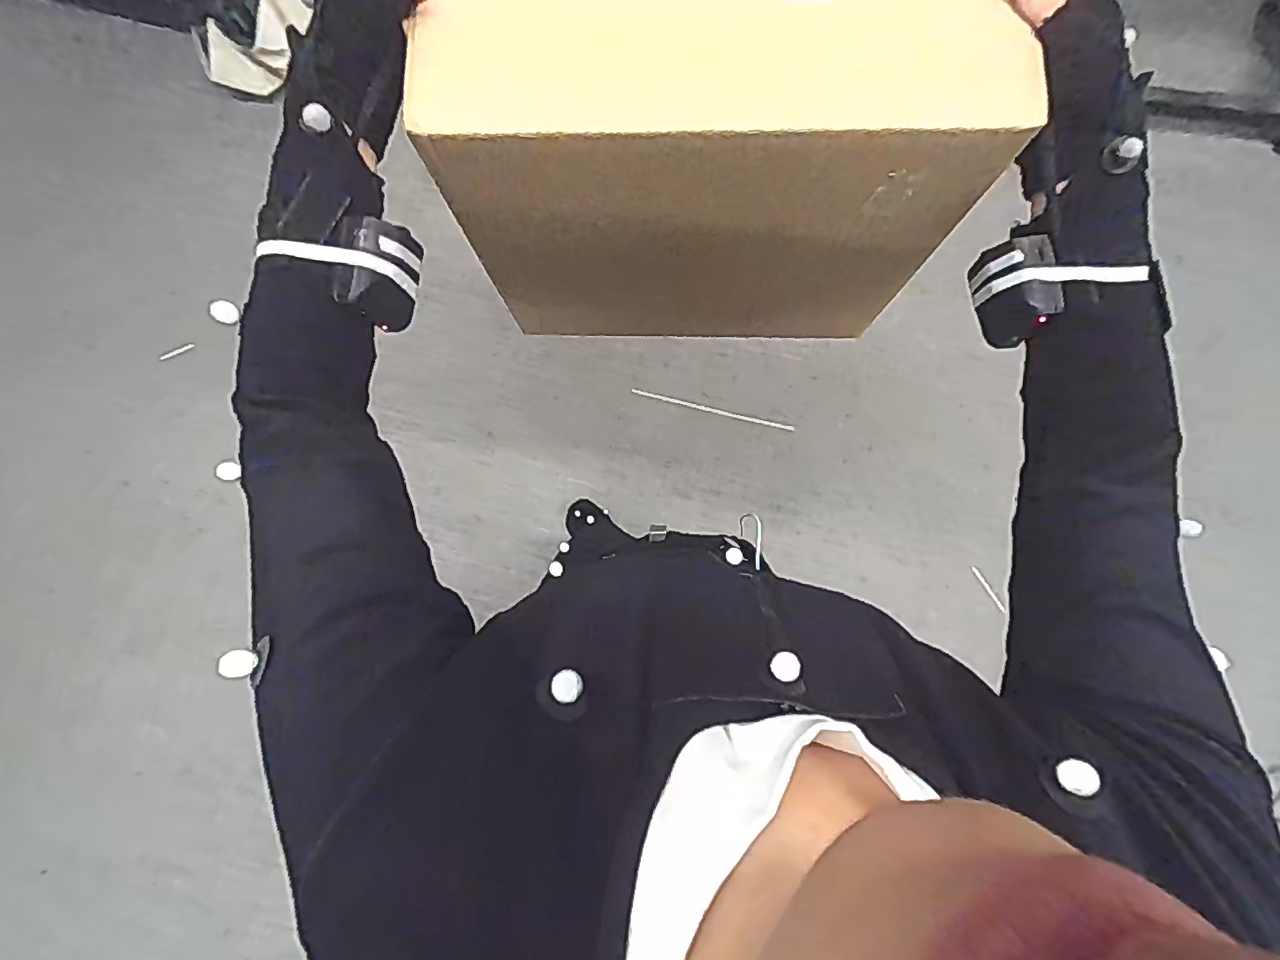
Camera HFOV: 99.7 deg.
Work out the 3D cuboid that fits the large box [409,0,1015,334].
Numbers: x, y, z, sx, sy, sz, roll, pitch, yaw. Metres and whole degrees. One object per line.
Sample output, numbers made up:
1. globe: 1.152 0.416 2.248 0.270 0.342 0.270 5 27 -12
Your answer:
1. large box: 0.046 -0.351 0.523 0.408 0.320 0.320 0 81 2
